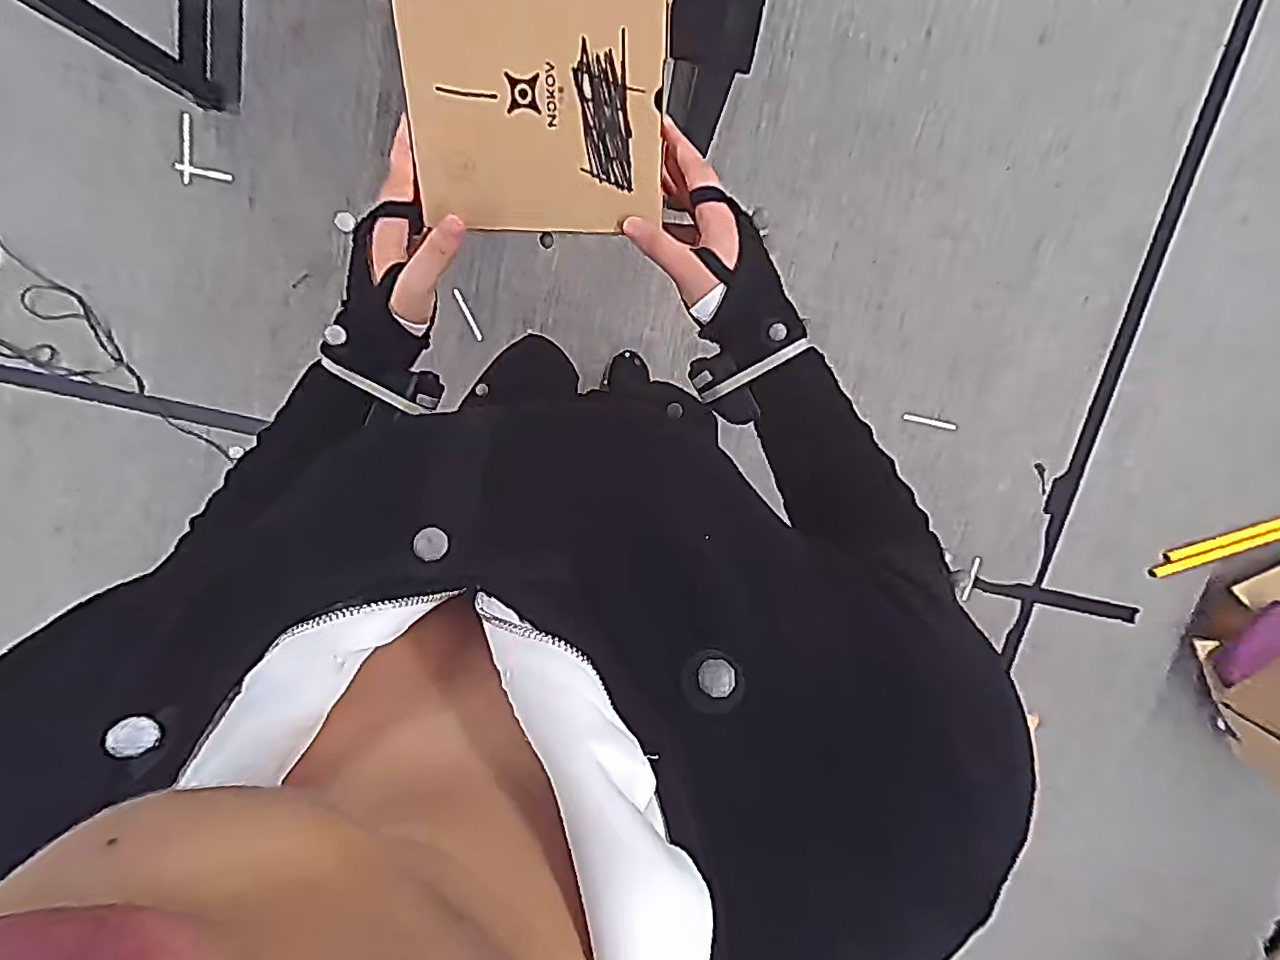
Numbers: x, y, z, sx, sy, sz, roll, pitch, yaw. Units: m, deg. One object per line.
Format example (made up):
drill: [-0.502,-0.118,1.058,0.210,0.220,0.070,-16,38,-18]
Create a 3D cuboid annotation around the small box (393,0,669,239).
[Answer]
small box: [-0.072,-0.292,0.436,0.179,0.176,0.168,1,116,-1]
